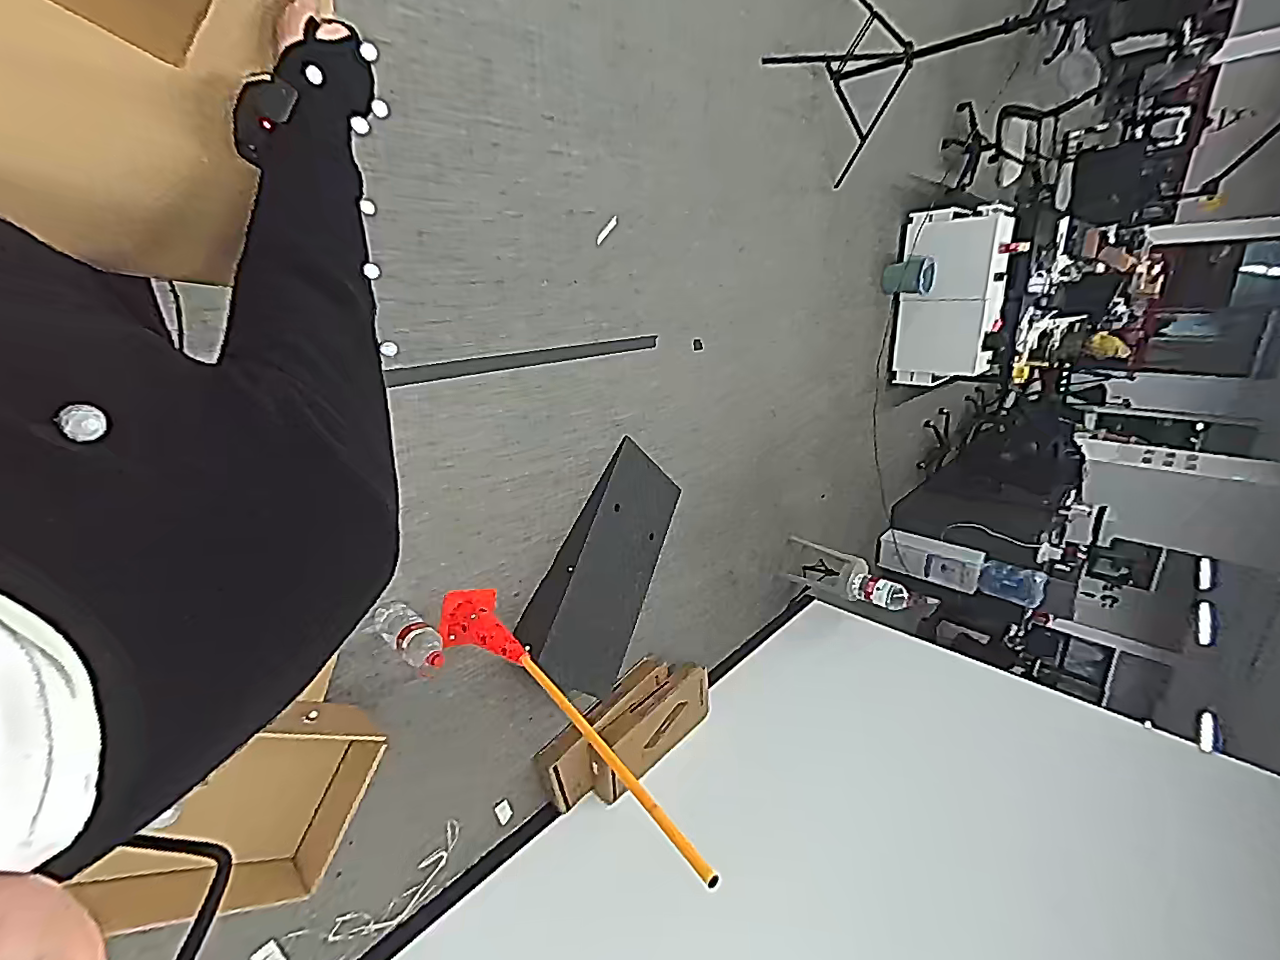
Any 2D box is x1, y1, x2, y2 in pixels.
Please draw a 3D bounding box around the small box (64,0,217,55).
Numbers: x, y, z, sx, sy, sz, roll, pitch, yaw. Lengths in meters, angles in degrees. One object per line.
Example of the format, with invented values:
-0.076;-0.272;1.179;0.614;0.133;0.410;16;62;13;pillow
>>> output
-0.383;-0.440;0.363;0.179;0.176;0.168;11;93;-48;small box
